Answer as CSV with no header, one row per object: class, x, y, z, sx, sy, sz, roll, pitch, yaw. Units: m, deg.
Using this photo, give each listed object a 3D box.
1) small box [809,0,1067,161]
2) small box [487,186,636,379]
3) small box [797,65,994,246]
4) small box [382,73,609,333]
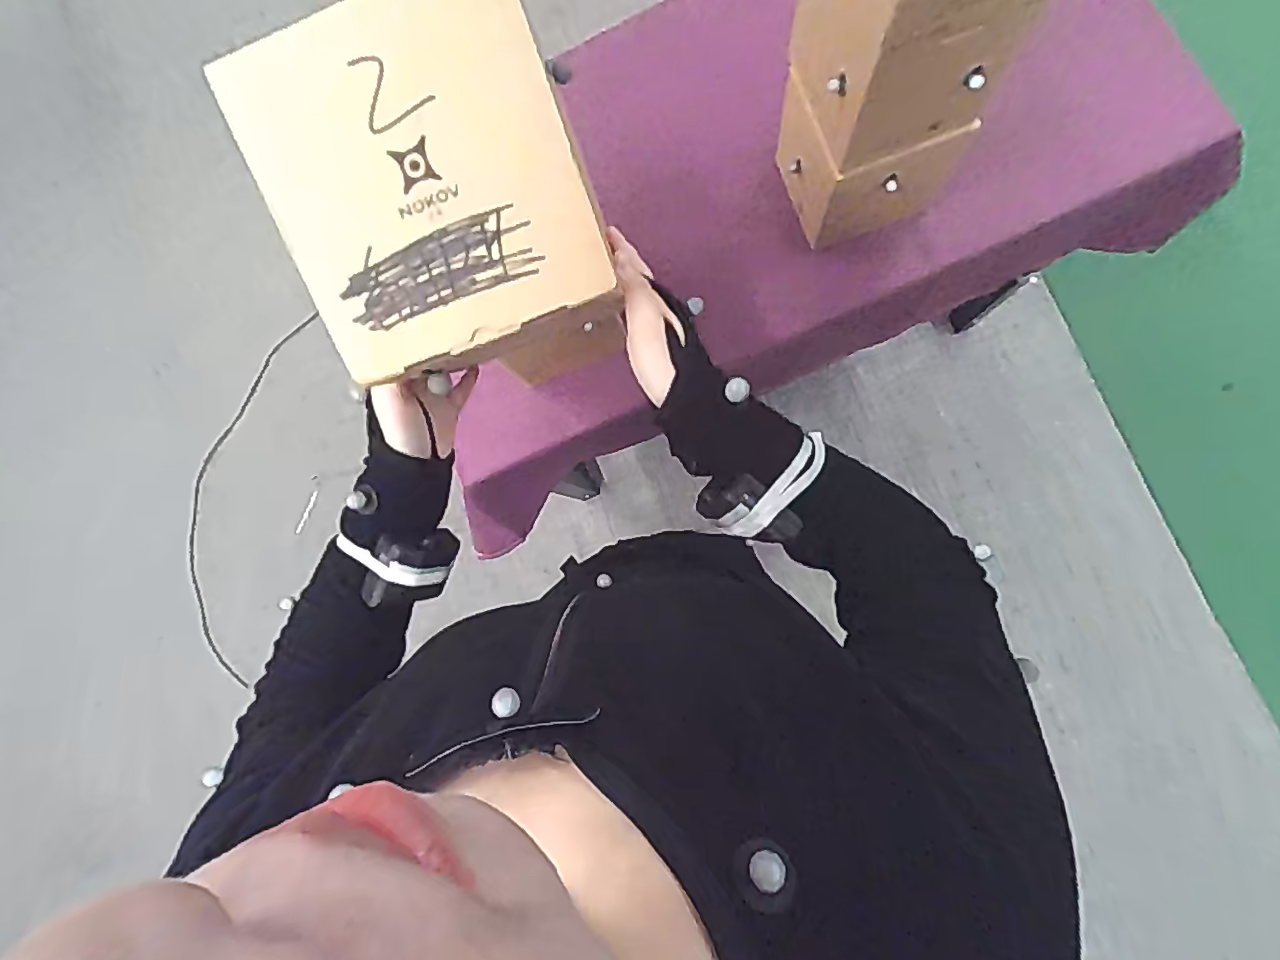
small box,0.291,-0.472,0.562,0.168,0.176,0.179,-17,81,6
small box,-0.121,-0.265,0.768,0.179,0.176,0.168,-21,81,5
small box,0.318,-0.446,0.721,0.179,0.176,0.168,-17,82,6
small box,-0.147,-0.287,0.608,0.168,0.176,0.179,-22,80,5
